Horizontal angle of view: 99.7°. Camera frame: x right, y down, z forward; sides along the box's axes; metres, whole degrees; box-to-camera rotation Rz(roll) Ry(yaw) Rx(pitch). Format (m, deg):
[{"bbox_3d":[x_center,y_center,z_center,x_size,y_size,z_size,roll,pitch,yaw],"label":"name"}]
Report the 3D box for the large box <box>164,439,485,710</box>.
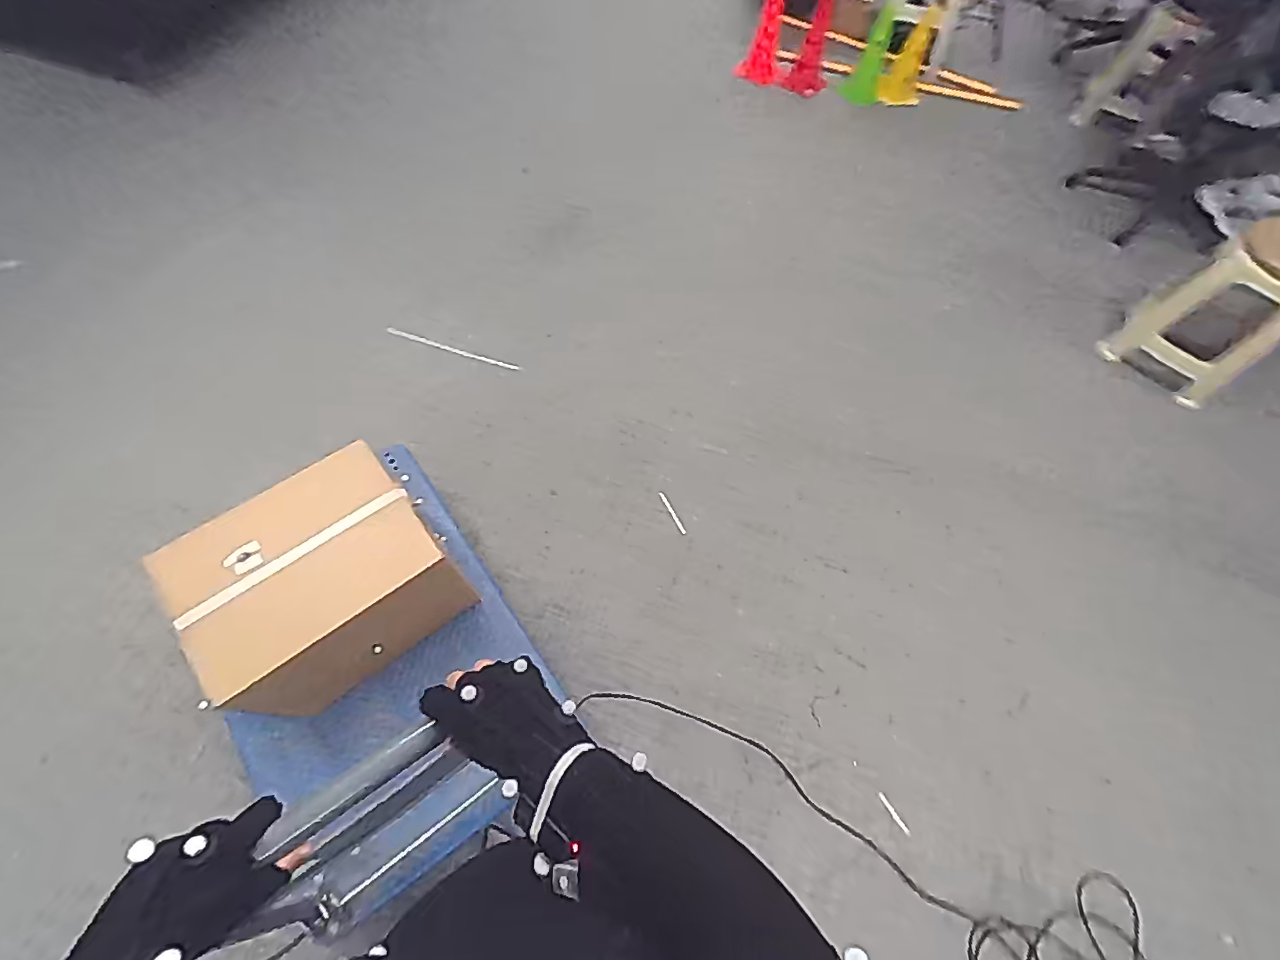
[{"bbox_3d":[-0.588,0.198,1.088,0.408,0.320,0.320,-35,70,-18],"label":"large box"}]
